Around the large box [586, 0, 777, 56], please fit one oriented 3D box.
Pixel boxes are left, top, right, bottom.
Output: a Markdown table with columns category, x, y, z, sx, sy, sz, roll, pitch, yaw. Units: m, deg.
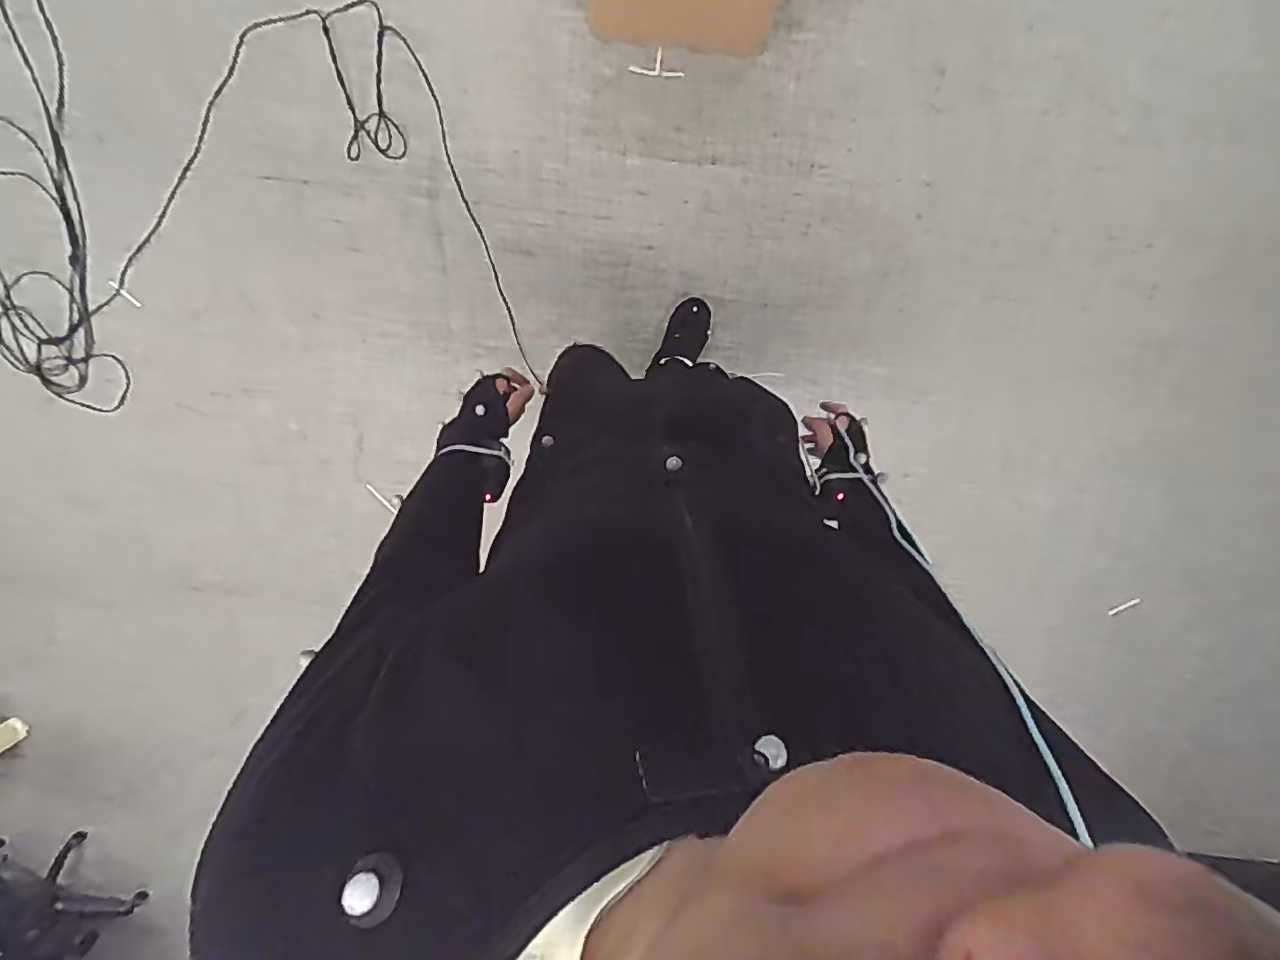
| category | x | y | z | sx | sy | sz | roll | pitch | yaw |
| --- | --- | --- | --- | --- | --- | --- | --- | --- | --- |
| large box | 0.090 | -1.152 | 1.140 | 0.408 | 0.320 | 0.320 | 4 | 108 | -1 |
